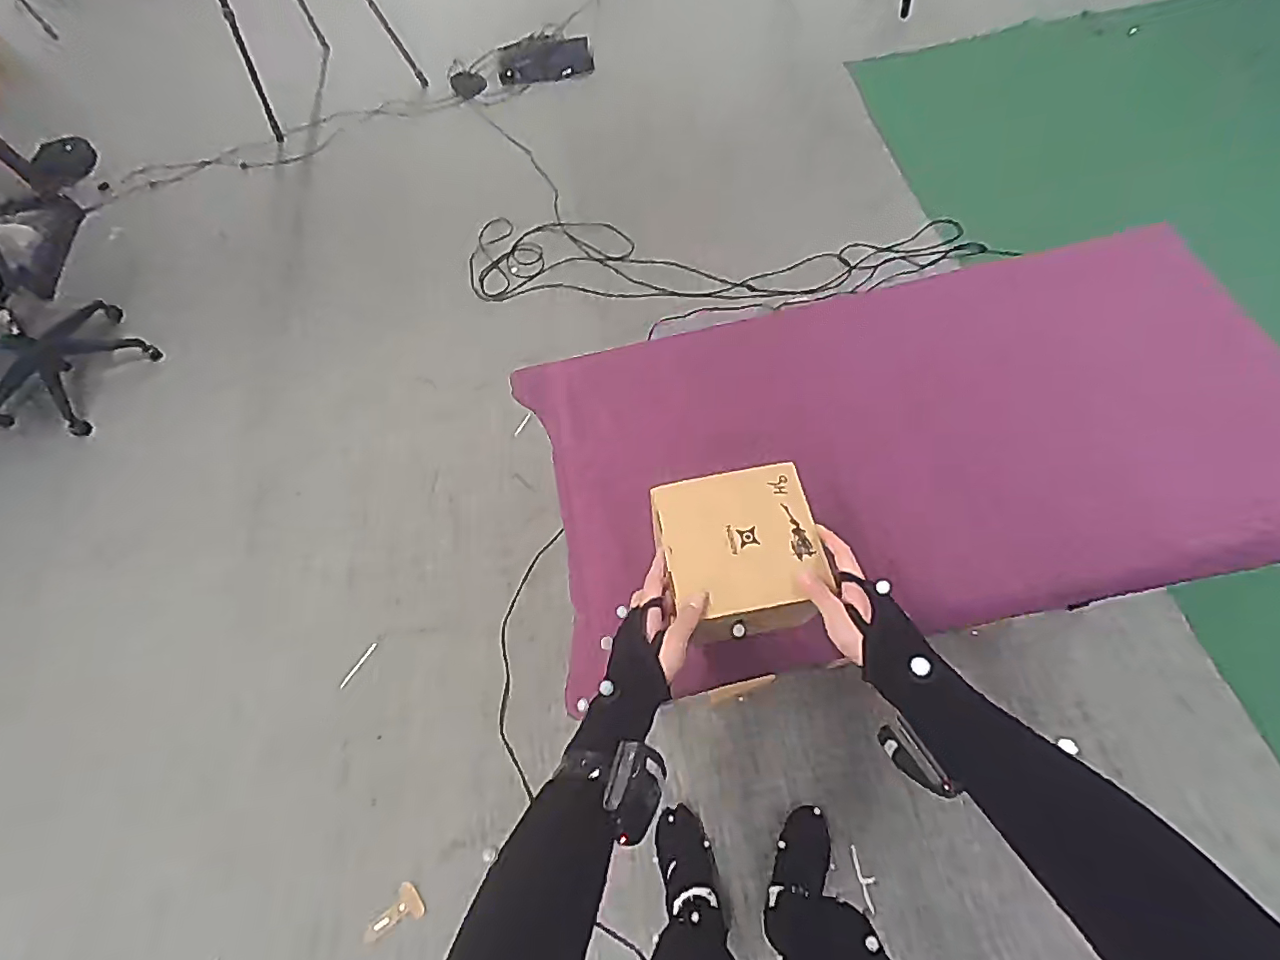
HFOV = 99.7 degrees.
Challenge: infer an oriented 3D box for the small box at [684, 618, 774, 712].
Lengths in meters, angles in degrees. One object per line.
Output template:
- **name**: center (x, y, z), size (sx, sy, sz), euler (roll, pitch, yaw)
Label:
- **small box**: center (0.221, 0.473, 1.367), size (0.168, 0.176, 0.179), euler (-19, 63, -4)

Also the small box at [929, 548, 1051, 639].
- **small box**: center (0.884, 0.298, 1.386), size (0.168, 0.176, 0.179), euler (-14, 62, -2)
